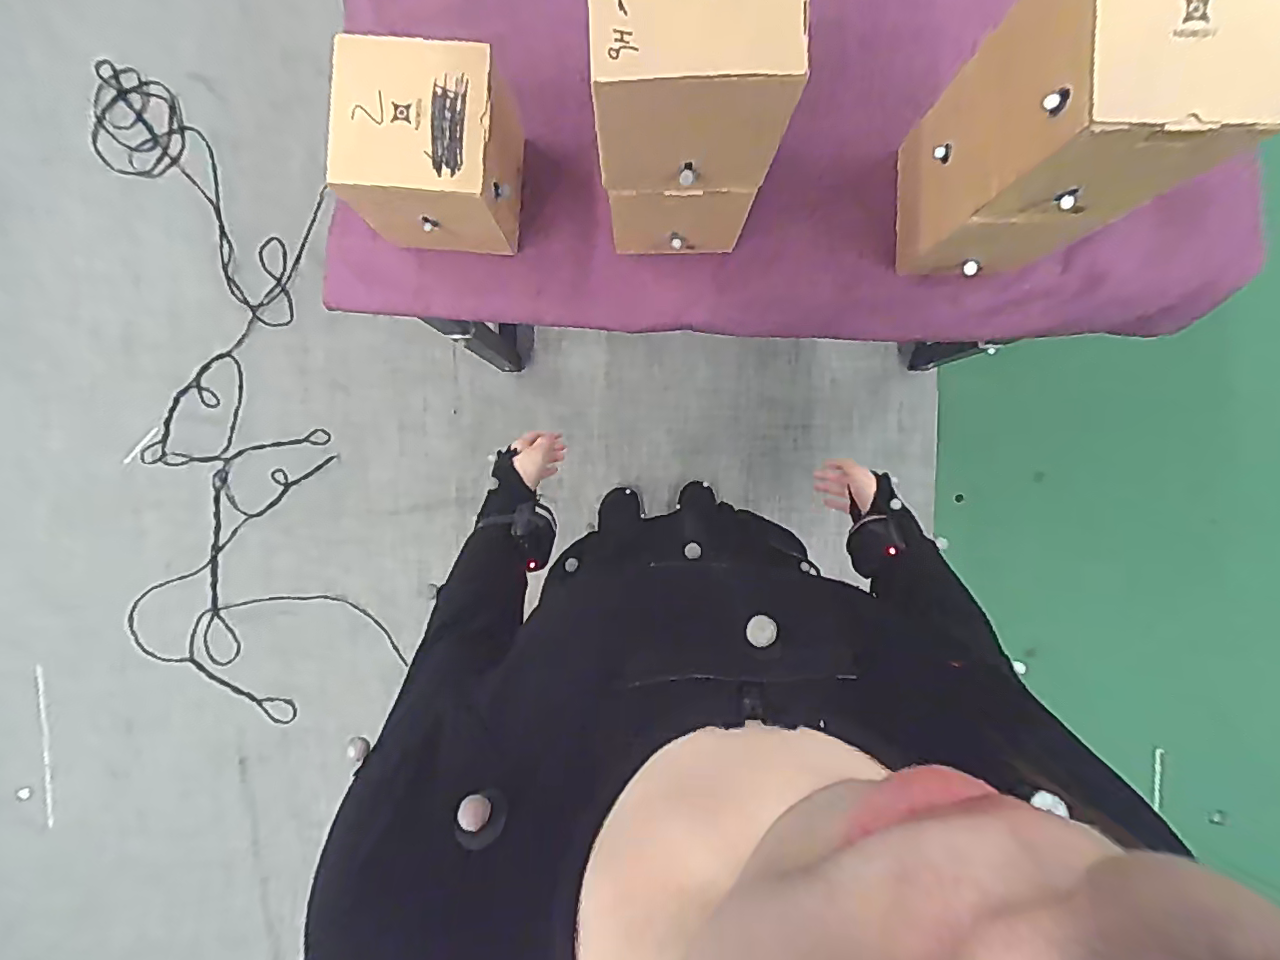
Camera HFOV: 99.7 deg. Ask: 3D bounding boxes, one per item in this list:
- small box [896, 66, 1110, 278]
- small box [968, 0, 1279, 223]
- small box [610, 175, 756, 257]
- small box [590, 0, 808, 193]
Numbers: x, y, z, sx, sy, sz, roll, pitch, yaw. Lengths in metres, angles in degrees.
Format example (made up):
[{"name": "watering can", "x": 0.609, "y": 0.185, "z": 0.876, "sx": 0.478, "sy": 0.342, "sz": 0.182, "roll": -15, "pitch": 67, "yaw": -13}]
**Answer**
[{"name": "small box", "x": 0.439, "y": -0.371, "z": 0.677, "sx": 0.168, "sy": 0.176, "sz": 0.179, "roll": 0, "pitch": 92, "yaw": 0}, {"name": "small box", "x": 0.441, "y": -0.371, "z": 0.515, "sx": 0.168, "sy": 0.176, "sz": 0.179, "roll": -1, "pitch": 92, "yaw": 0}, {"name": "small box", "x": 0.045, "y": -0.399, "z": 0.674, "sx": 0.168, "sy": 0.176, "sz": 0.179, "roll": -2, "pitch": 91, "yaw": 0}, {"name": "small box", "x": 0.044, "y": -0.394, "z": 0.511, "sx": 0.179, "sy": 0.176, "sz": 0.168, "roll": -2, "pitch": 90, "yaw": -1}]
